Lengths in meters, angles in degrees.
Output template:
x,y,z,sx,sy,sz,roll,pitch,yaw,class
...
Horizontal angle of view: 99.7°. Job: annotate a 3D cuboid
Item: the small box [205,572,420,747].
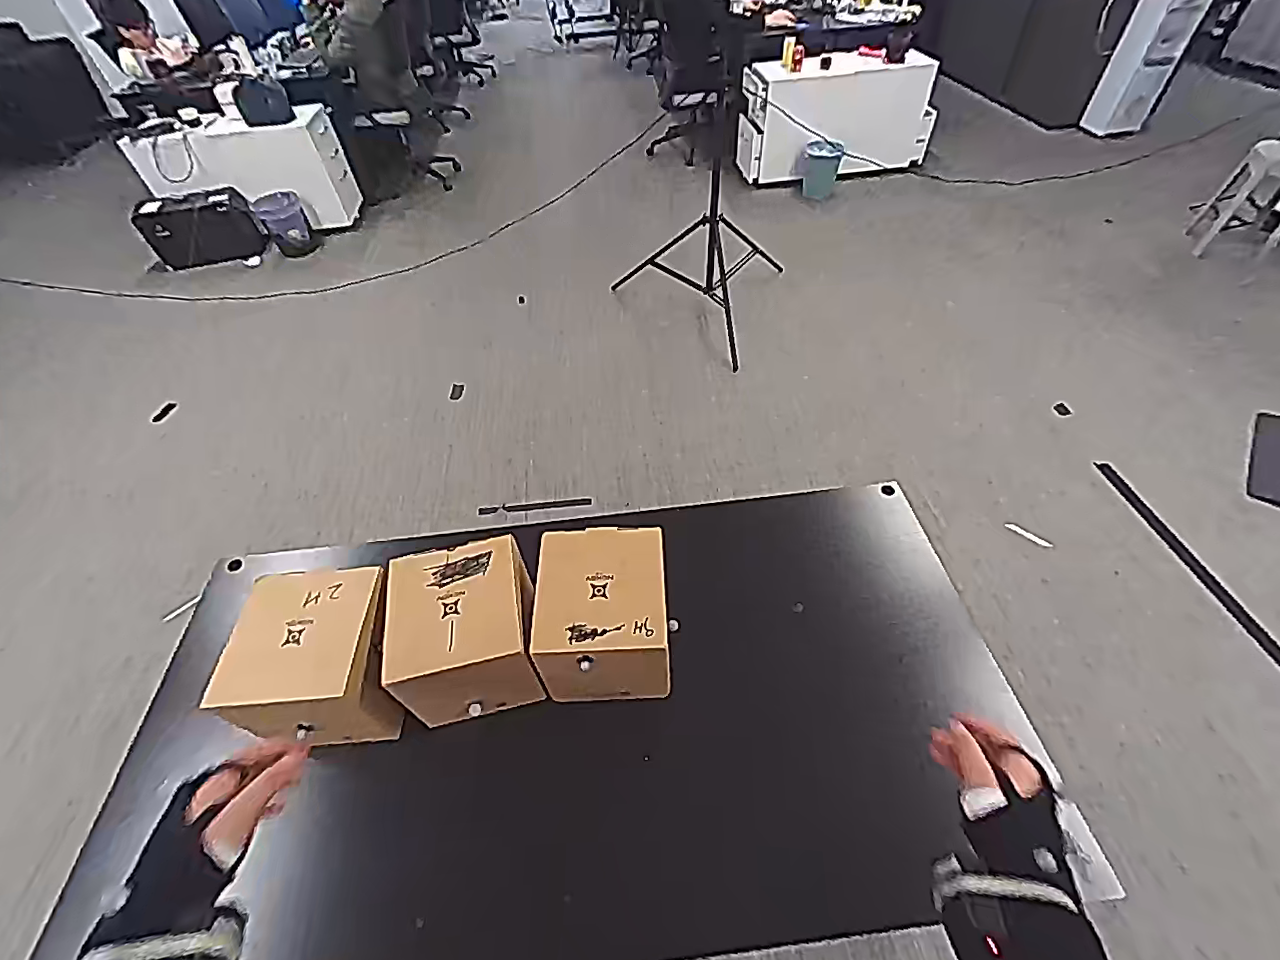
x,y,z,sx,sy,sz,roll,pitch,yaw,class
-0.417,0.247,0.729,0.168,0.176,0.179,-5,48,-1,small box
